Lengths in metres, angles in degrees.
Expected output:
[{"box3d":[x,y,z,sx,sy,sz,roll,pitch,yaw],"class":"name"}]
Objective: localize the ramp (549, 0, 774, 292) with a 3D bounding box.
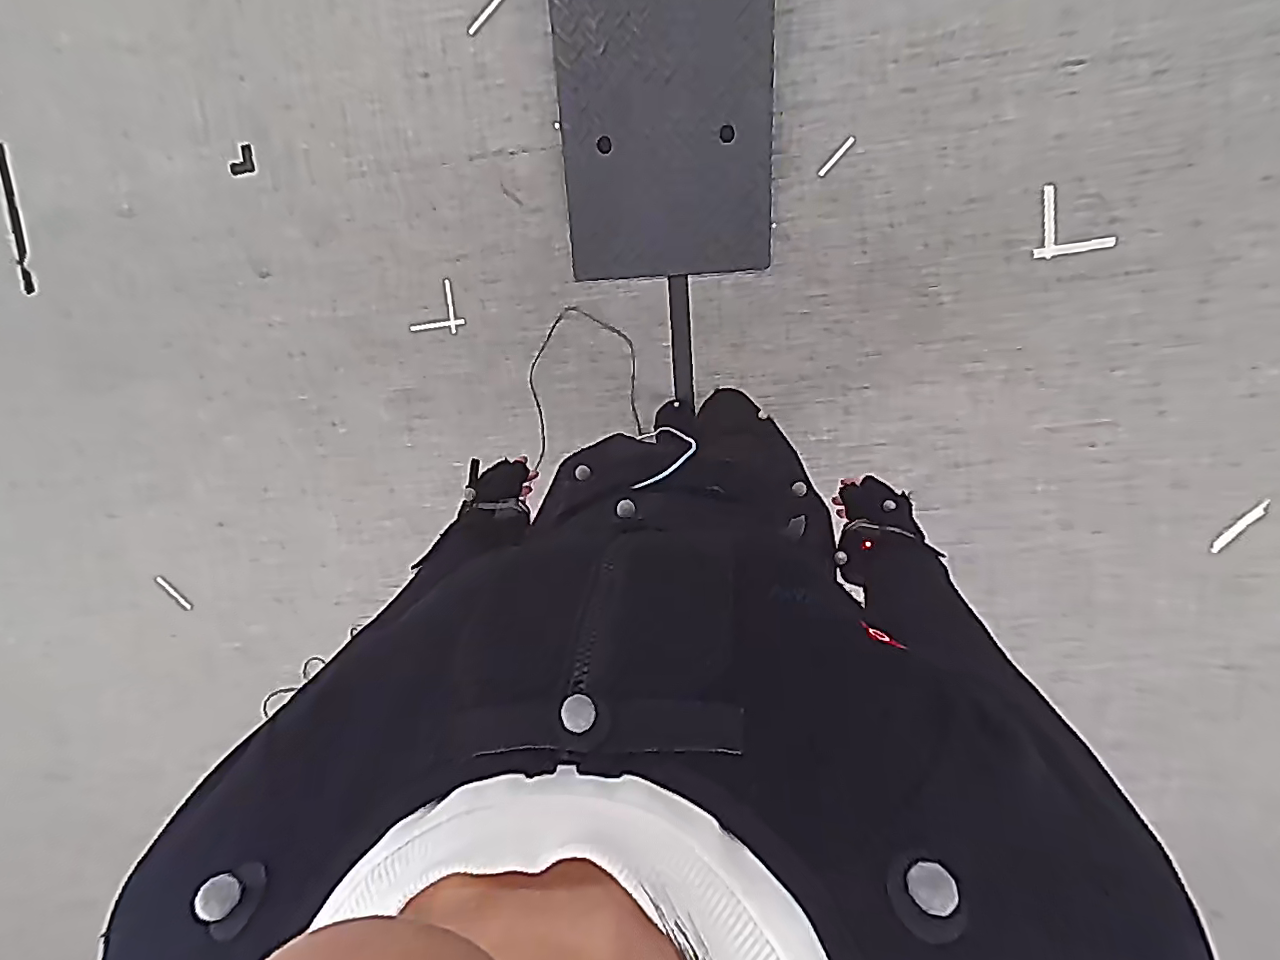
[{"box3d":[0.050,-0.971,1.220,0.509,0.206,0.991,-5,98,7],"class":"ramp"}]
